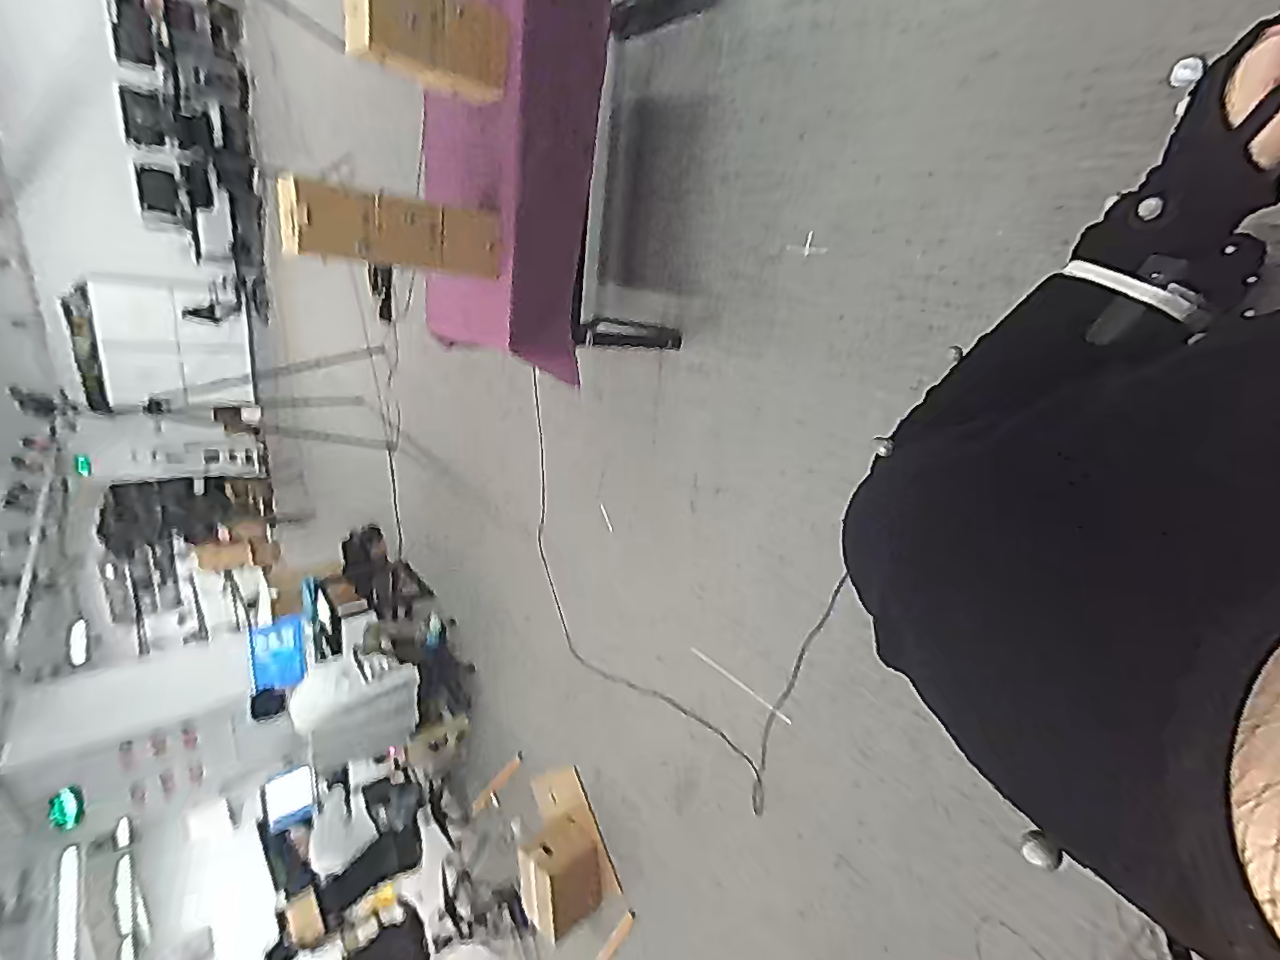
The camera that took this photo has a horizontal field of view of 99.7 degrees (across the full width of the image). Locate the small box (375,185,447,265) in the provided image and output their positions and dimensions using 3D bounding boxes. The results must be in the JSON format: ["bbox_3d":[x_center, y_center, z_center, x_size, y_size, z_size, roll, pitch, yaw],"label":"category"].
[{"bbox_3d":[-0.620,-0.669,1.421,0.179,0.176,0.168,30,118,42],"label":"small box"}]

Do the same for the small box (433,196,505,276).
[{"bbox_3d":[-0.495,-0.686,1.526,0.168,0.176,0.179,28,117,42],"label":"small box"}]

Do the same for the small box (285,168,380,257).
[{"bbox_3d":[-0.746,-0.645,1.318,0.179,0.176,0.168,26,115,44],"label":"small box"}]

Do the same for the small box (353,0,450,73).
[{"bbox_3d":[-0.562,-1.092,1.275,0.179,0.176,0.168,32,119,41],"label":"small box"}]

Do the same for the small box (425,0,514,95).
[{"bbox_3d":[-0.436,-1.111,1.380,0.168,0.176,0.179,29,118,42],"label":"small box"}]
